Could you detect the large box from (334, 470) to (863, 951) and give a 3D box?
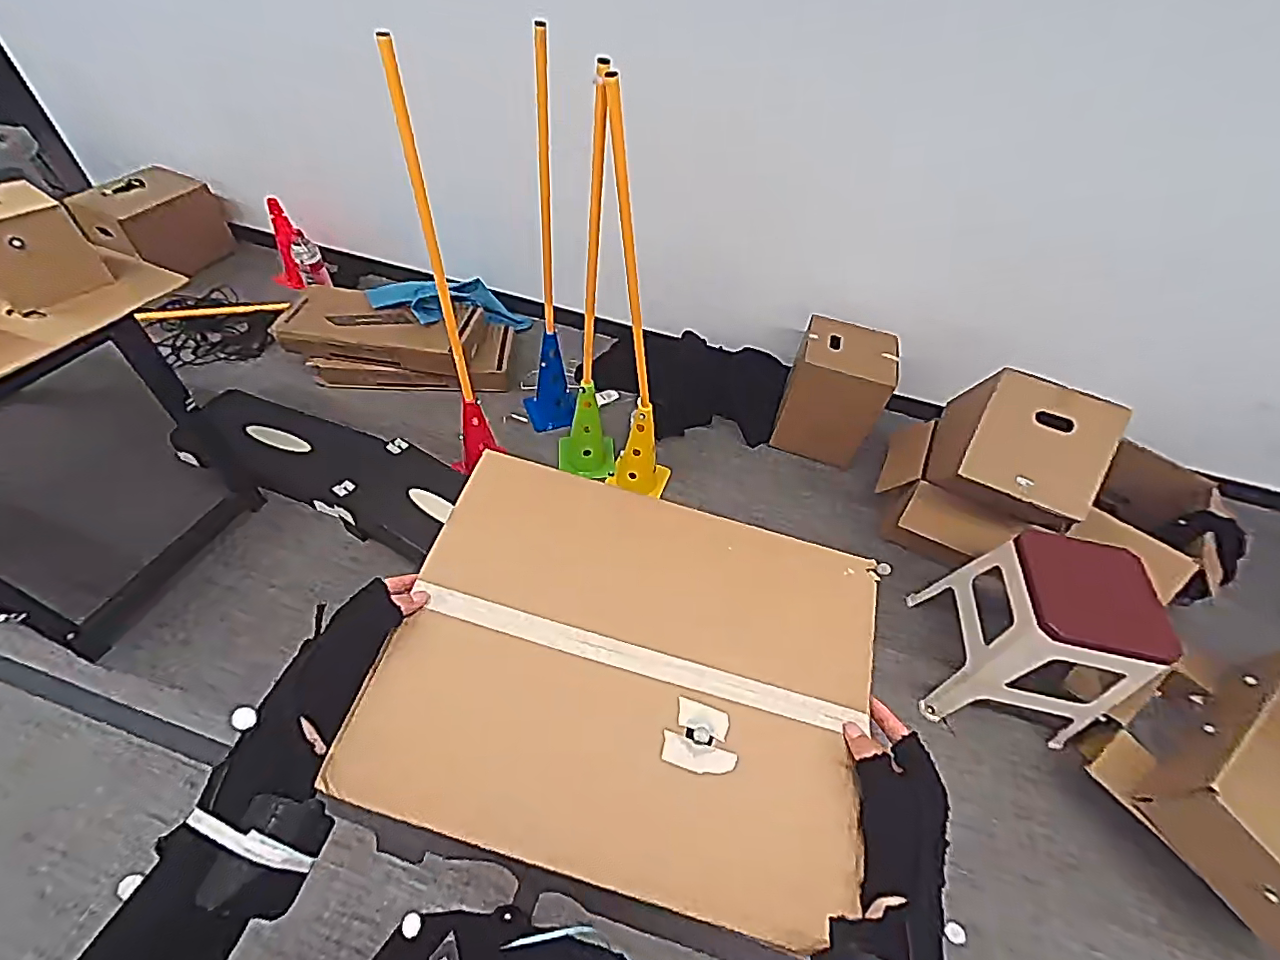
[{"bbox_3d":[-0.022,0.240,0.600,0.408,0.320,0.320,17,59,2],"label":"large box"}]
